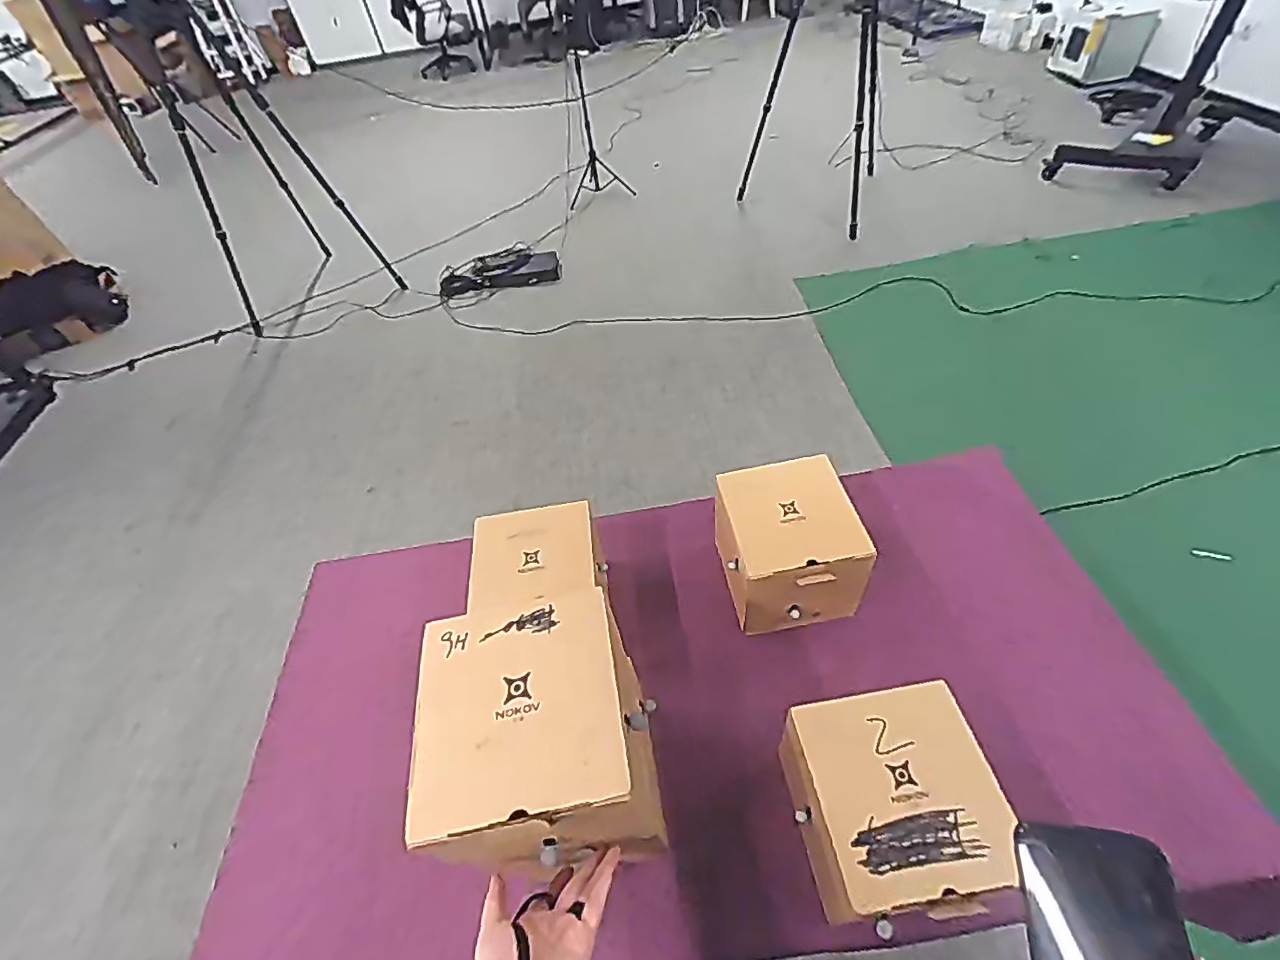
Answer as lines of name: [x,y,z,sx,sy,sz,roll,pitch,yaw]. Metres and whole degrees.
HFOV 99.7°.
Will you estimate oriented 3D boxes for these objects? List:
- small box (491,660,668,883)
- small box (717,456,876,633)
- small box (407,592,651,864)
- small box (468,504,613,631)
small box: [-0.067,0.335,0.621,0.168,0.176,0.179,-12,49,0]
small box: [0.210,0.095,0.783,0.168,0.176,0.179,-12,50,-1]
small box: [-0.090,0.232,0.494,0.168,0.176,0.179,-12,50,-2]
small box: [-0.134,0.163,0.779,0.168,0.176,0.179,-9,49,0]
